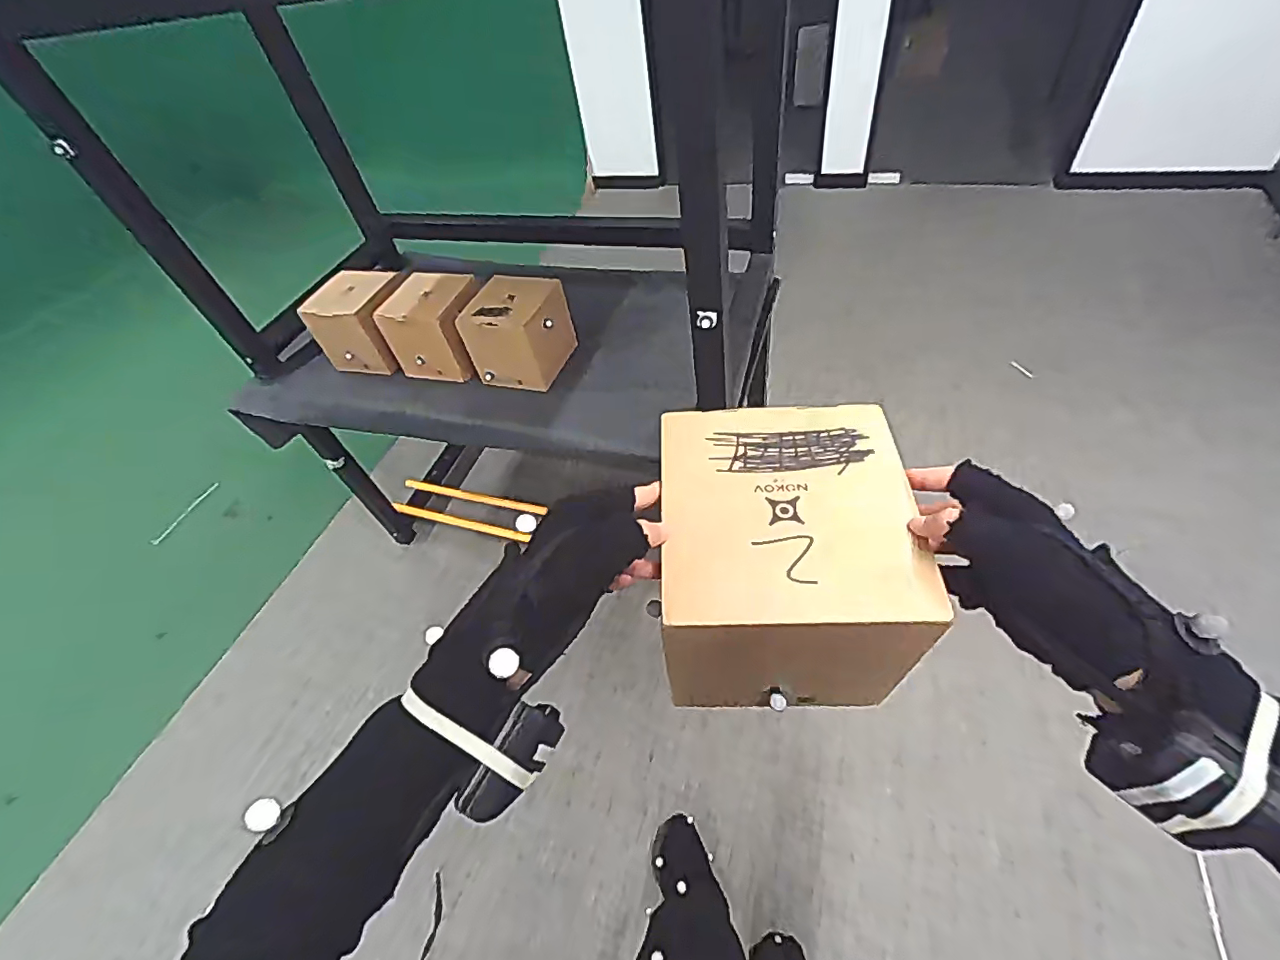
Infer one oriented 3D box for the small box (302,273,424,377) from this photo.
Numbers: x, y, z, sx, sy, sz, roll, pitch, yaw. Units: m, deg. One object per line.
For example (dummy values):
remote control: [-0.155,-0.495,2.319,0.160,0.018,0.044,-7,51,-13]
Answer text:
small box: [-0.652,-0.374,1.302,0.168,0.176,0.179,8,52,16]
